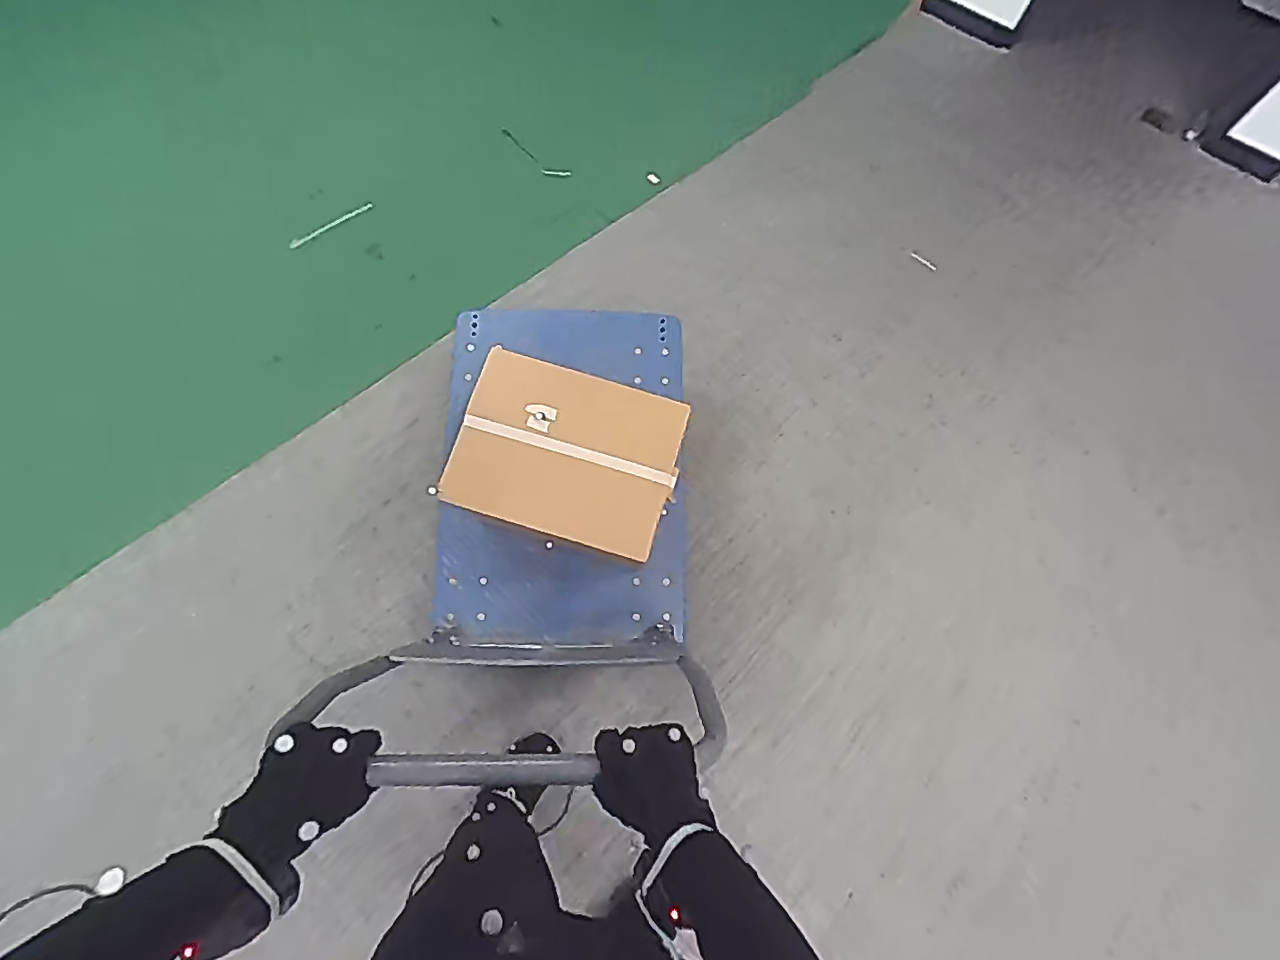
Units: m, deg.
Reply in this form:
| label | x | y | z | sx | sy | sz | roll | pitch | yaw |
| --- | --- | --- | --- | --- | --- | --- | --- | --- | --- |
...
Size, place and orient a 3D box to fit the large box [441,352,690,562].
| label | x | y | z | sx | sy | sz | roll | pitch | yaw |
| --- | --- | --- | --- | --- | --- | --- | --- | --- | --- |
| large box | -0.134 | -0.026 | 1.150 | 0.408 | 0.320 | 0.320 | 16 | 78 | 2 |
